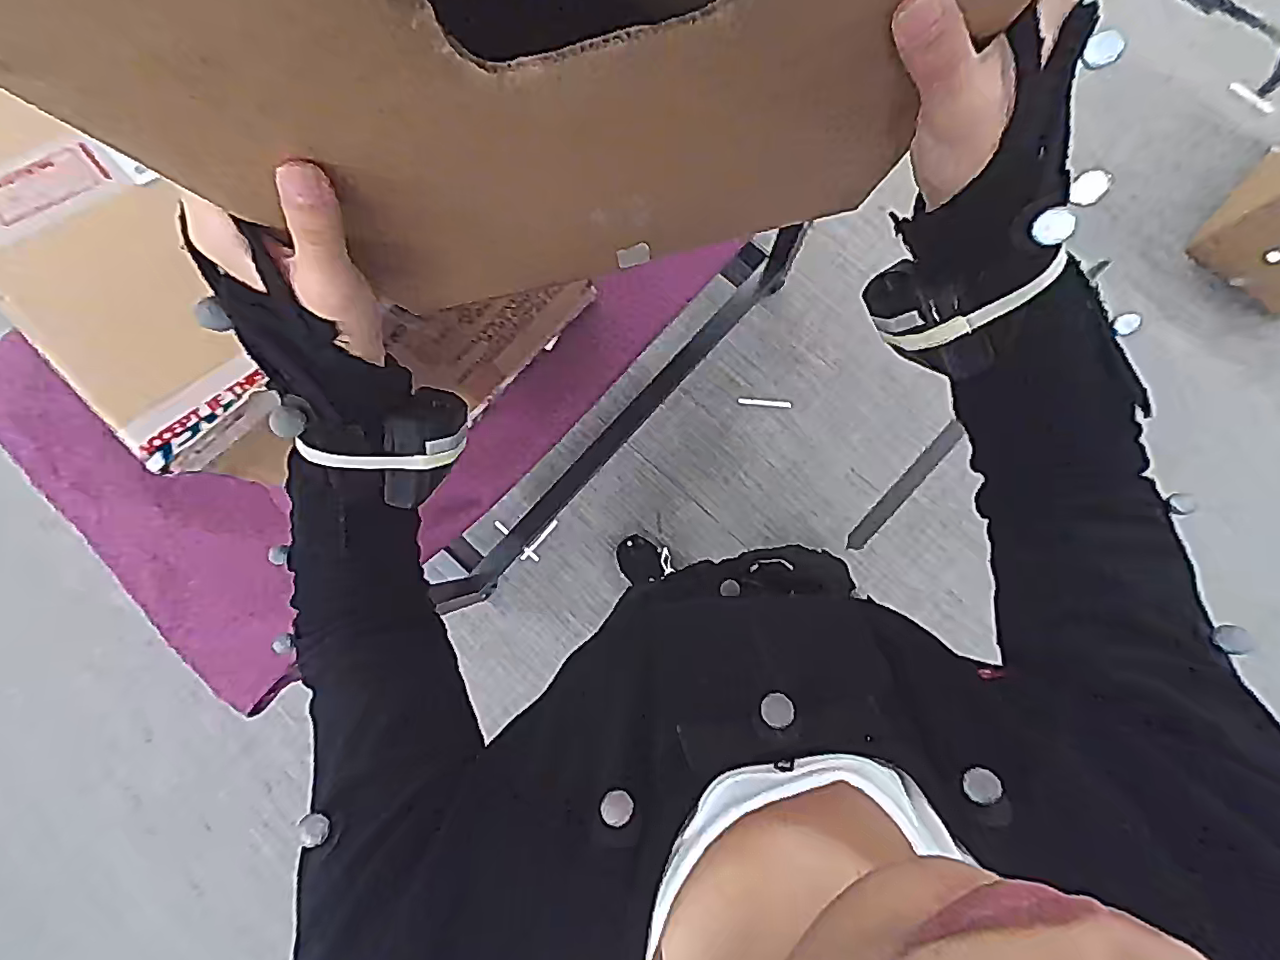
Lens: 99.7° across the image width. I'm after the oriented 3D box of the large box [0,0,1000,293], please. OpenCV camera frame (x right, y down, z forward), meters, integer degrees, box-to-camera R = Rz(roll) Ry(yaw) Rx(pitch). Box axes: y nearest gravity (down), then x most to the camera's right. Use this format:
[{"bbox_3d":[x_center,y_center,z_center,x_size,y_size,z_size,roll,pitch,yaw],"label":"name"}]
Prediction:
[{"bbox_3d":[-0.052,-0.342,0.206,0.320,0.320,0.408,-13,93,4],"label":"large box"}]
